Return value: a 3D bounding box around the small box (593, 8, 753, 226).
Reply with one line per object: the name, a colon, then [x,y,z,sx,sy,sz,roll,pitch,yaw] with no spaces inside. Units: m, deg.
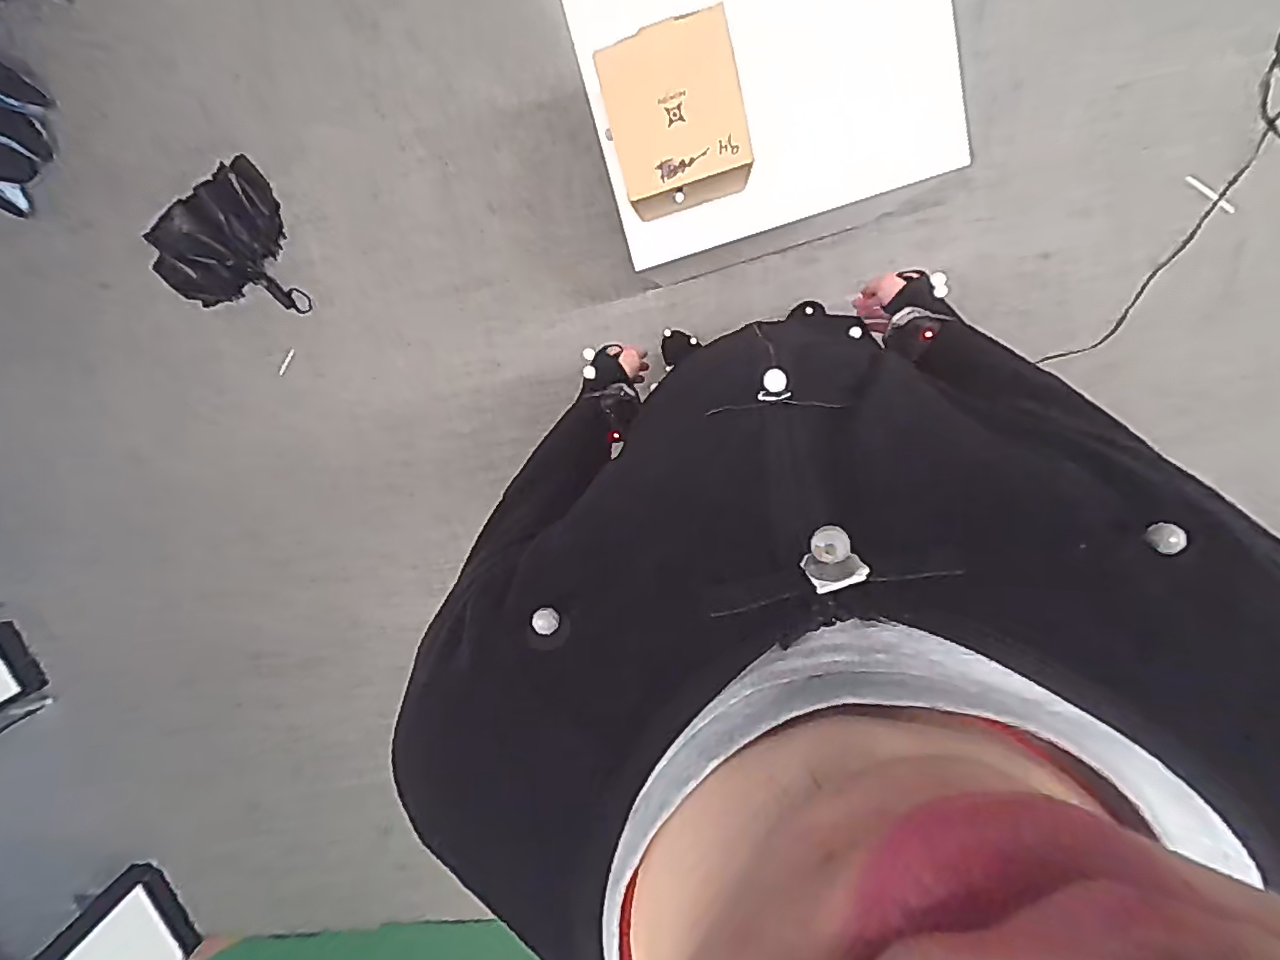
small box: [0.048,-0.474,0.739,0.168,0.176,0.179,-14,103,10]
